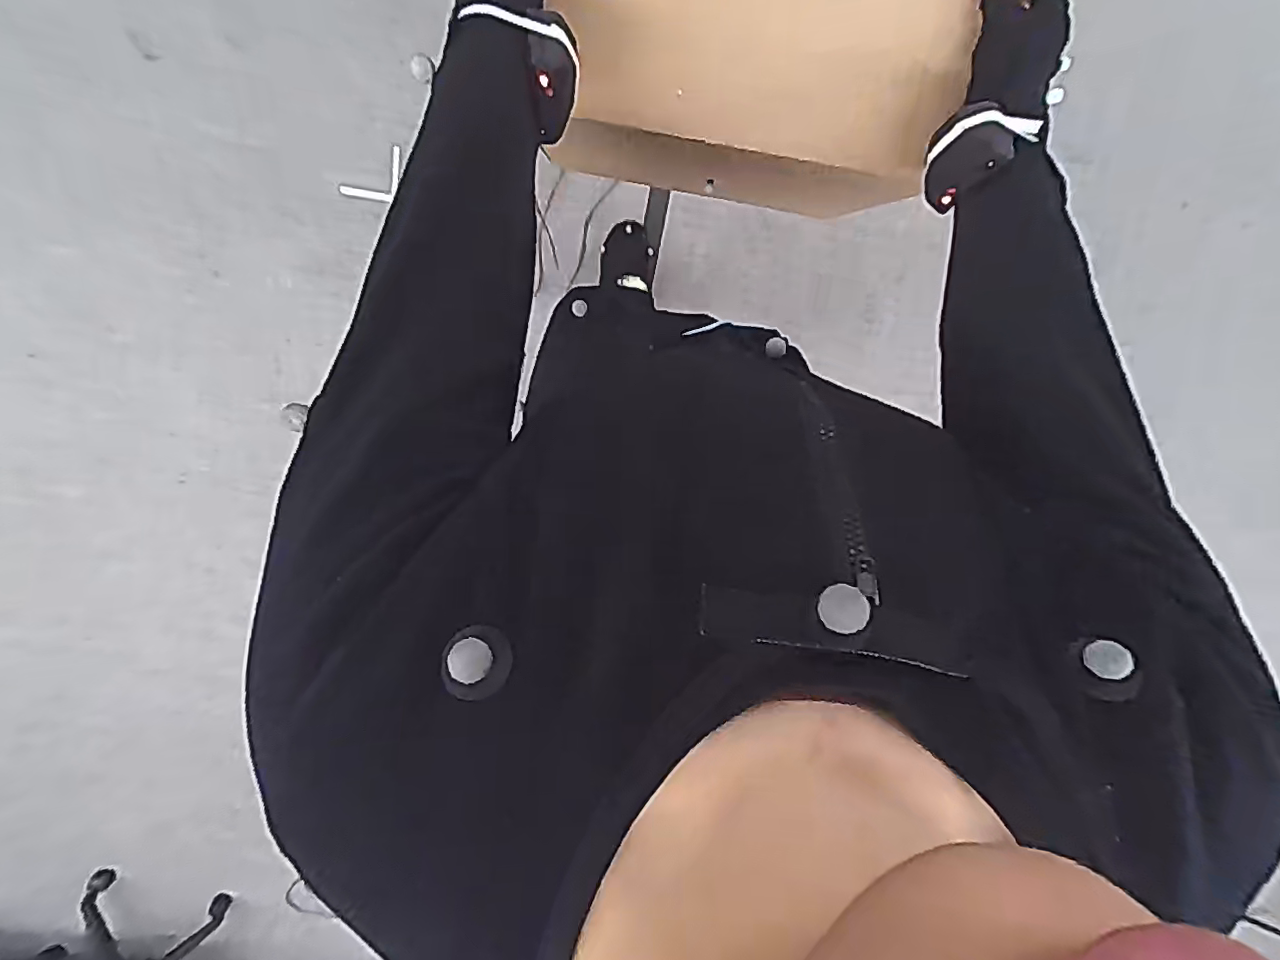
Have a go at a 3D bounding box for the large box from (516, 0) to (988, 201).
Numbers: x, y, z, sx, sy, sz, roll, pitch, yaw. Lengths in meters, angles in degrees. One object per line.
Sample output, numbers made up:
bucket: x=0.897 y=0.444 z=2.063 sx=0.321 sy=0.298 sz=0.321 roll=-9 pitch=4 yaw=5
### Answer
large box: x=0.104 y=-0.509 z=0.578 sx=0.408 sy=0.320 sz=0.320 roll=8 pitch=110 yaw=-4
